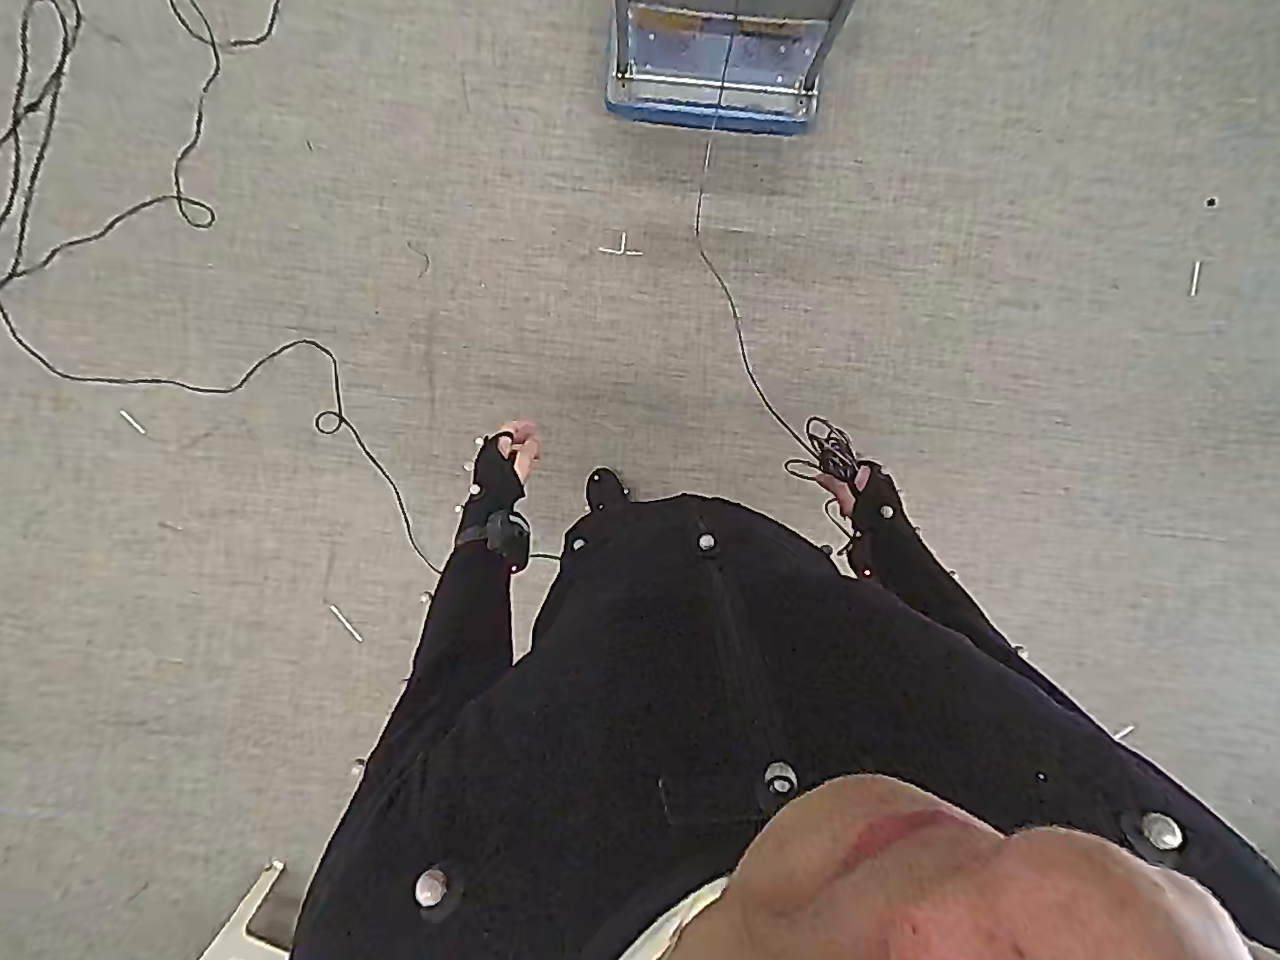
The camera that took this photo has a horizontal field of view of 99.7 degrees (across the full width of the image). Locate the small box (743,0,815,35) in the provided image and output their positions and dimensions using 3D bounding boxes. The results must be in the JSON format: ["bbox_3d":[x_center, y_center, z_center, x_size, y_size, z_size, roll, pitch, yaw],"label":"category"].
[{"bbox_3d":[0.360,-1.276,1.352,0.168,0.176,0.179,7,92,0],"label":"small box"}]
